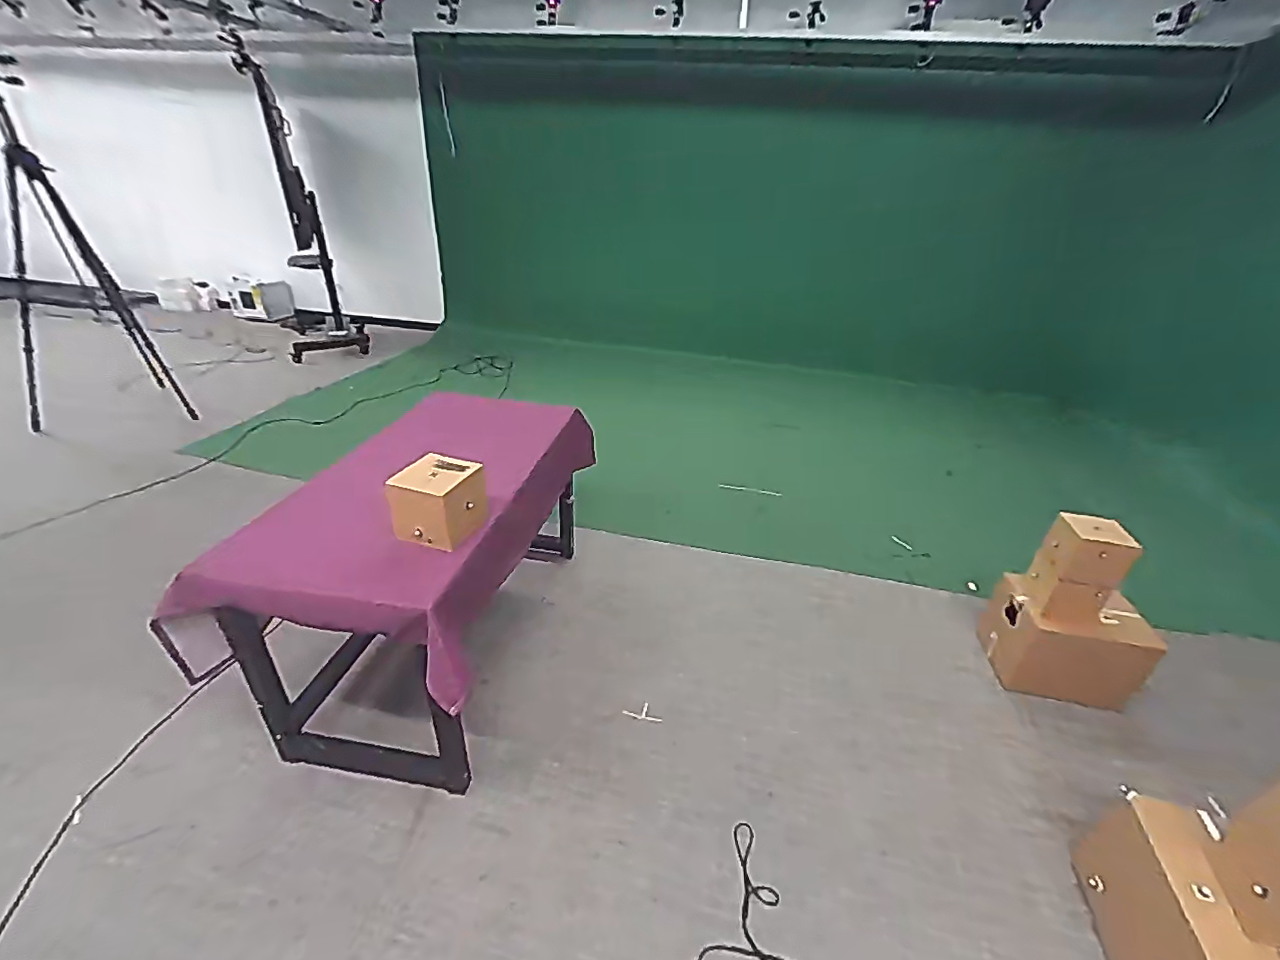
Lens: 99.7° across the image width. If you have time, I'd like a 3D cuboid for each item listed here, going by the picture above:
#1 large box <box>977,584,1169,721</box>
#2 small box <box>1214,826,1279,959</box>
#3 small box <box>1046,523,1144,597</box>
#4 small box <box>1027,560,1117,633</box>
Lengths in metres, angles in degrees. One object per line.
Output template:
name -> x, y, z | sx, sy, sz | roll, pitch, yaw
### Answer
large box -> 1.556, 0.629, 1.990 | 0.408, 0.320, 0.320 | 9, 29, 8
small box -> 1.311, 0.841, 1.062 | 0.168, 0.176, 0.179 | 15, 30, 16
small box -> 1.490, 0.266, 1.791 | 0.179, 0.176, 0.168 | 10, 30, 10
small box -> 1.483, 0.408, 1.877 | 0.179, 0.176, 0.168 | 10, 29, 10
